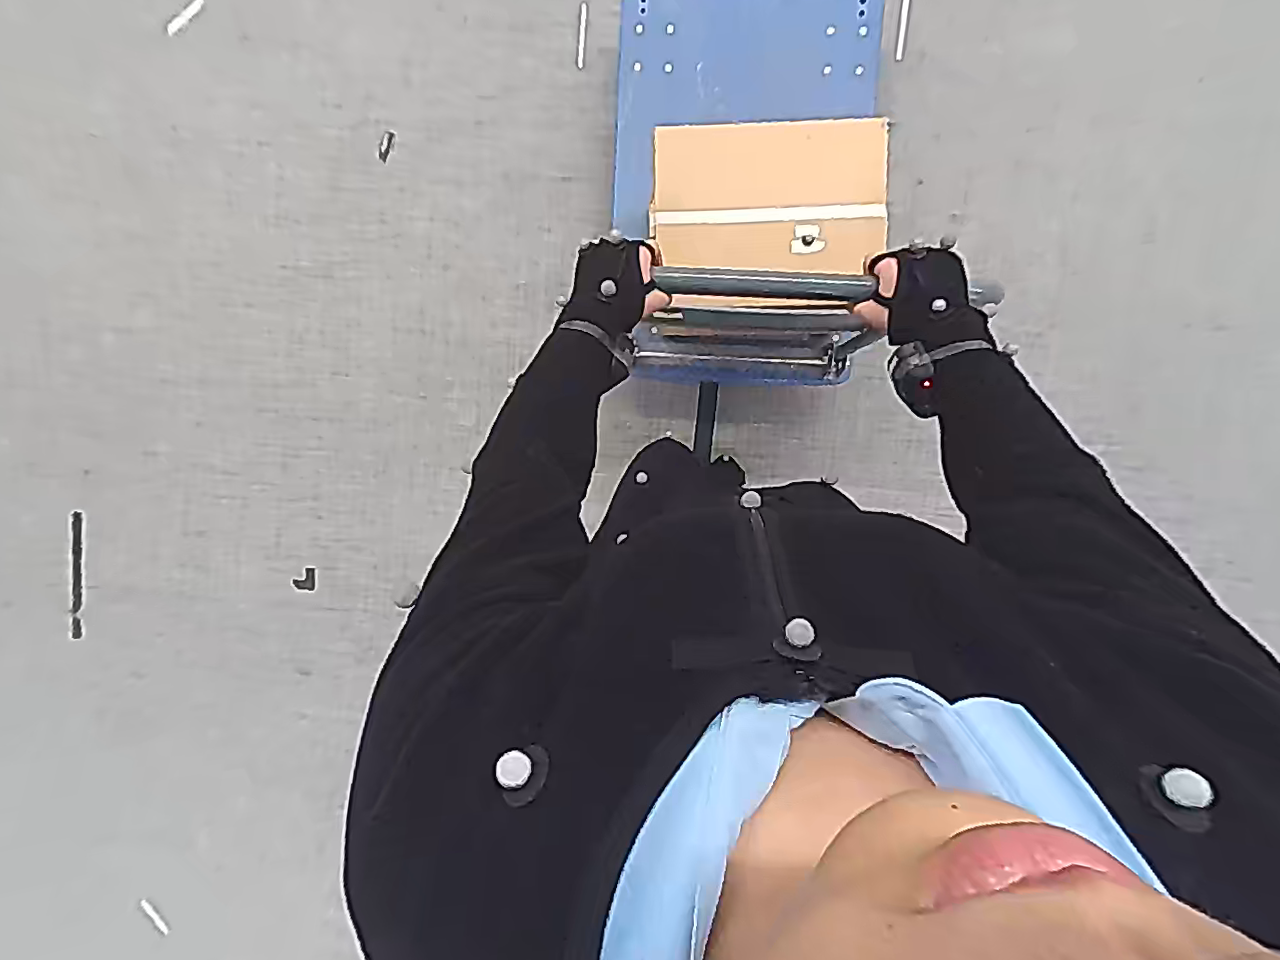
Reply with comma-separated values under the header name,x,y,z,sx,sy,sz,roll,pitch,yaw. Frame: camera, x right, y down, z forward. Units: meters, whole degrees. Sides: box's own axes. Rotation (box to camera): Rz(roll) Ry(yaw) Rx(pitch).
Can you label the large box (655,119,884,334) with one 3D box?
name,x,y,z,sx,sy,sz,roll,pitch,yaw
large box,0.237,-0.488,1.114,0.408,0.320,0.320,-1,96,2
